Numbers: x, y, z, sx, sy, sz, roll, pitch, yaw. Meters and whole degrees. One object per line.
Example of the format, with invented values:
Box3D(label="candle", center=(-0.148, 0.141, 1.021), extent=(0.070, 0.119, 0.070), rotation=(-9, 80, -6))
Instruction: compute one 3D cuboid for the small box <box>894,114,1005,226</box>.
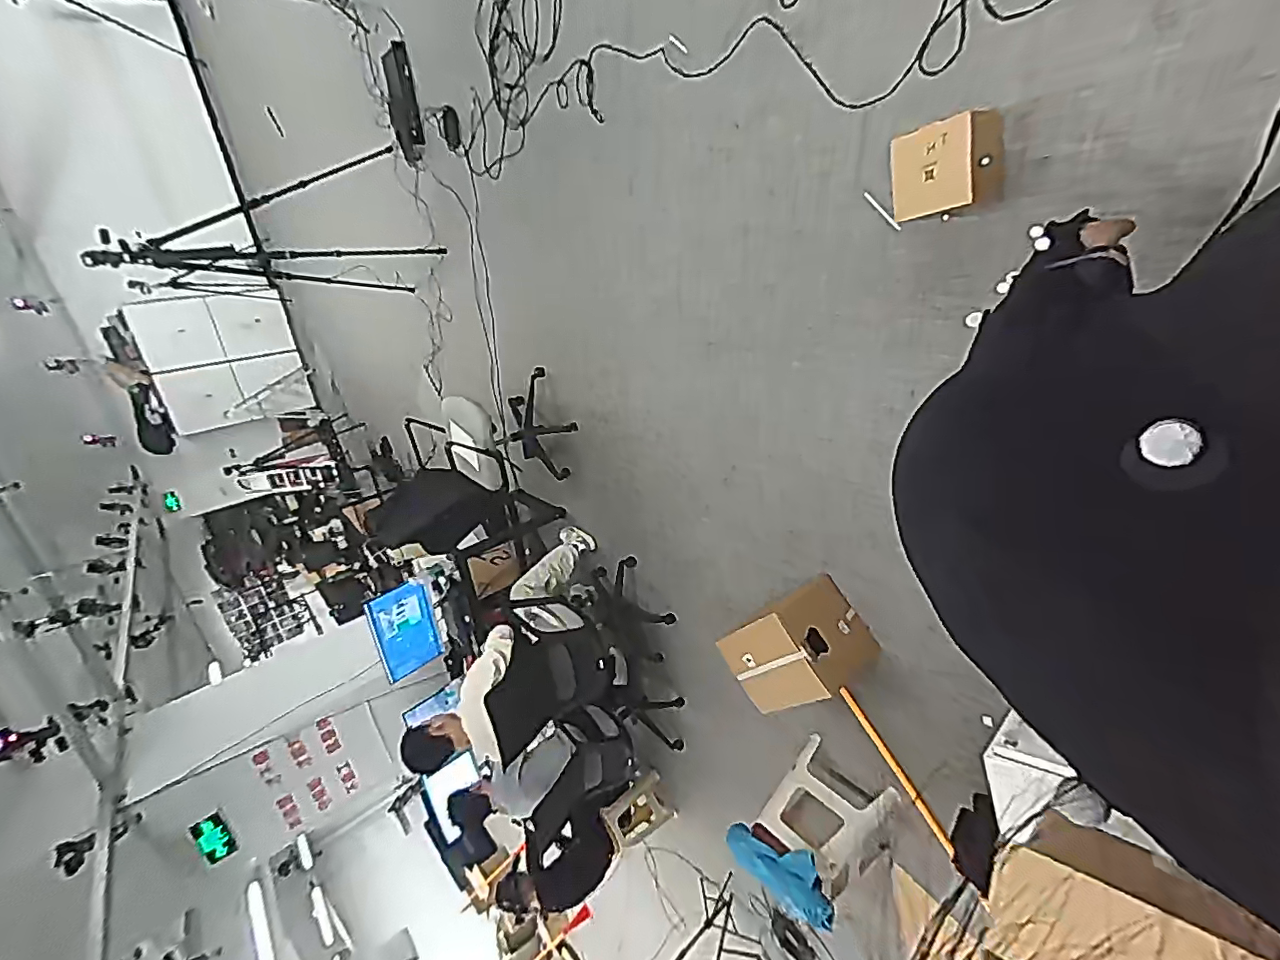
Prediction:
Box3D(label="small box", center=(0.688, -0.681, 1.200), extent=(0.168, 0.176, 0.179), rotation=(9, 116, 50))
